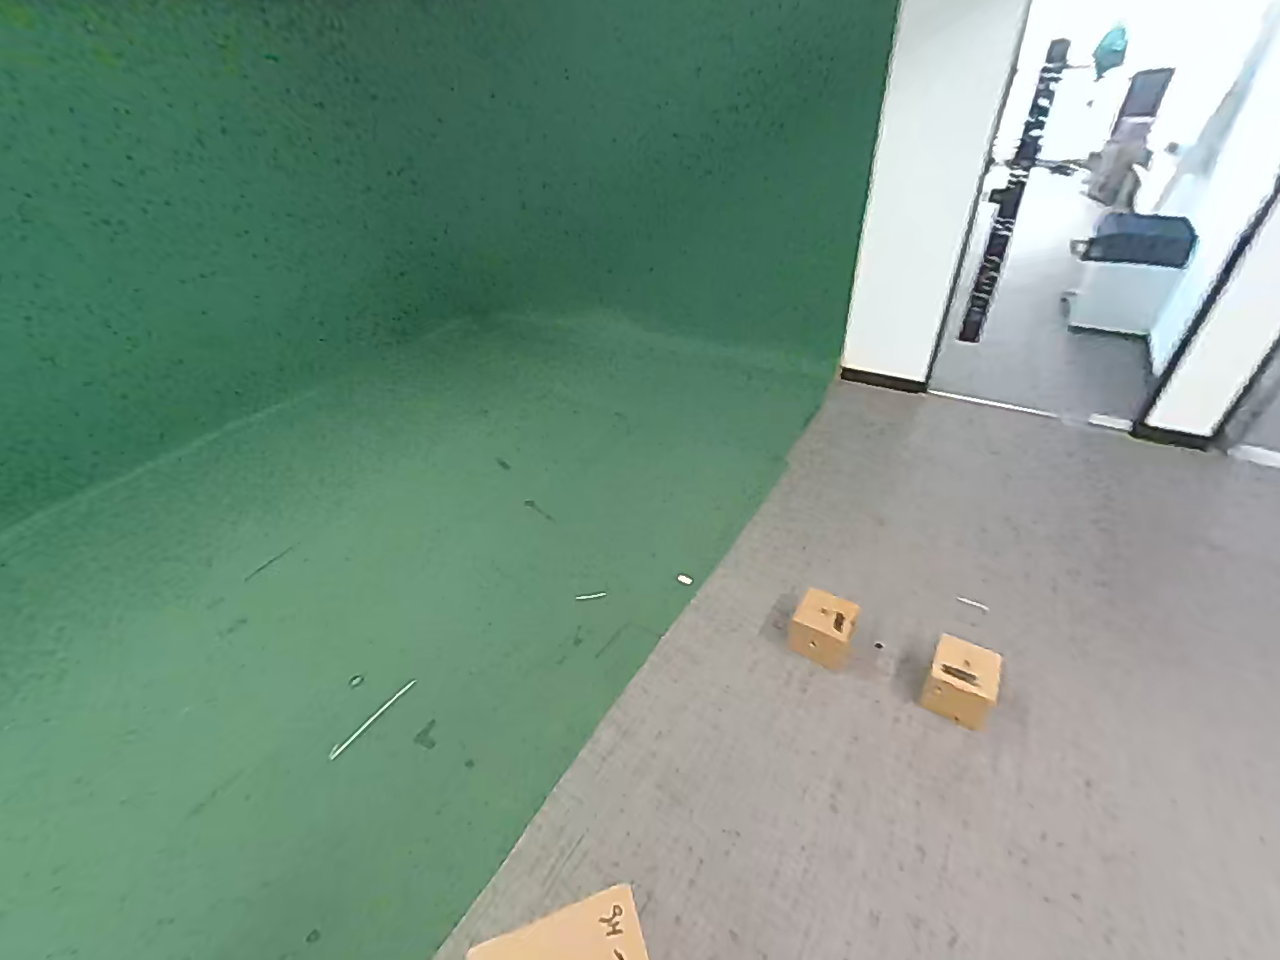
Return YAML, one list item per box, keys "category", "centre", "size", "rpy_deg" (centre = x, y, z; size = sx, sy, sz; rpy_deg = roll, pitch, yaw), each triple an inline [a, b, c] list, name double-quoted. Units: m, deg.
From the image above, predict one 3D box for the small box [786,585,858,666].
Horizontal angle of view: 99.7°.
- category: "small box"
  centre: [0.604, 0.490, 1.802]
  size: [0.179, 0.176, 0.168]
  rpy_deg: [19, 44, 29]
